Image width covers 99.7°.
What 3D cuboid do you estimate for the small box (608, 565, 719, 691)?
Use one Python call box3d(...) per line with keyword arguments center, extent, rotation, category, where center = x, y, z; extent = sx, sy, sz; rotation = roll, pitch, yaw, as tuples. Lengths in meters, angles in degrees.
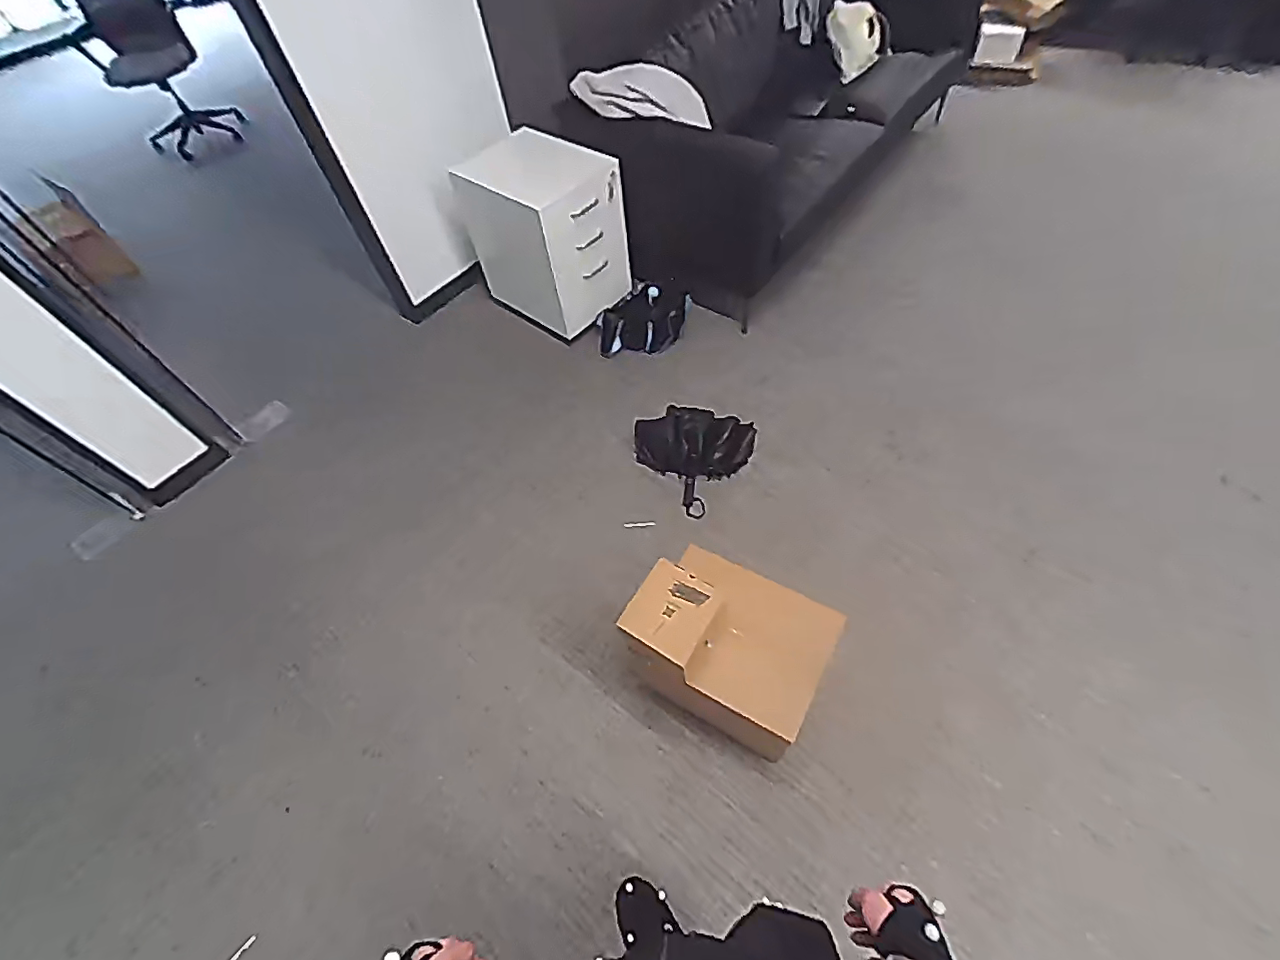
box3d(center=(0.053, 0.319, 1.153), extent=(0.168, 0.176, 0.179), rotation=(27, 64, 22), category="small box")
